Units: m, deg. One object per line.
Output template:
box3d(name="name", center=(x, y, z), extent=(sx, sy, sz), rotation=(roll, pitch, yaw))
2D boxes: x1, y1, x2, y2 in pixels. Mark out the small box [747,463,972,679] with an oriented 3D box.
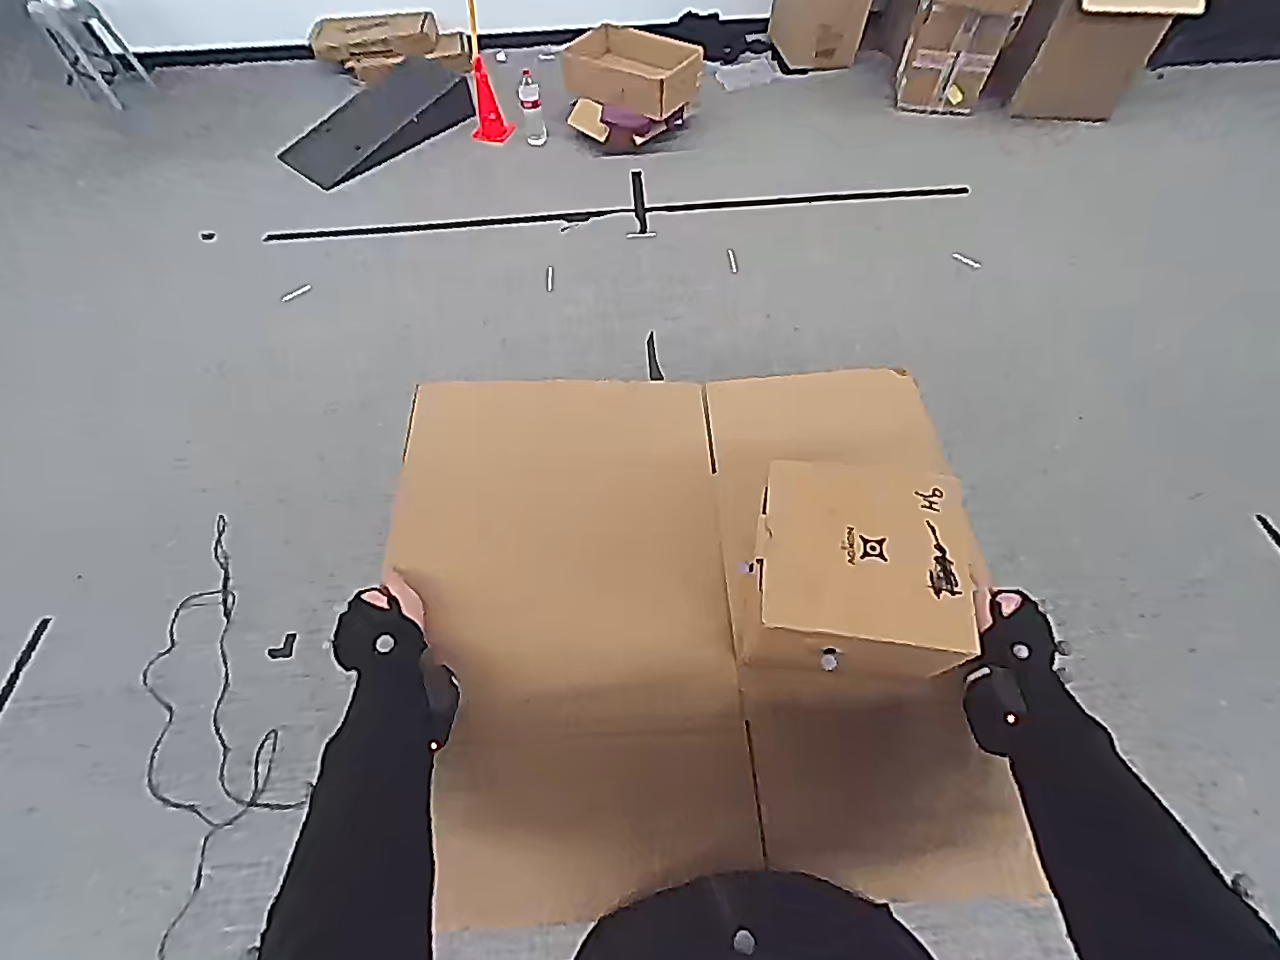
box3d(name="small box", center=(0.206, 0.099, 0.558), extent=(0.179, 0.176, 0.168), rotation=(5, 62, 9))
